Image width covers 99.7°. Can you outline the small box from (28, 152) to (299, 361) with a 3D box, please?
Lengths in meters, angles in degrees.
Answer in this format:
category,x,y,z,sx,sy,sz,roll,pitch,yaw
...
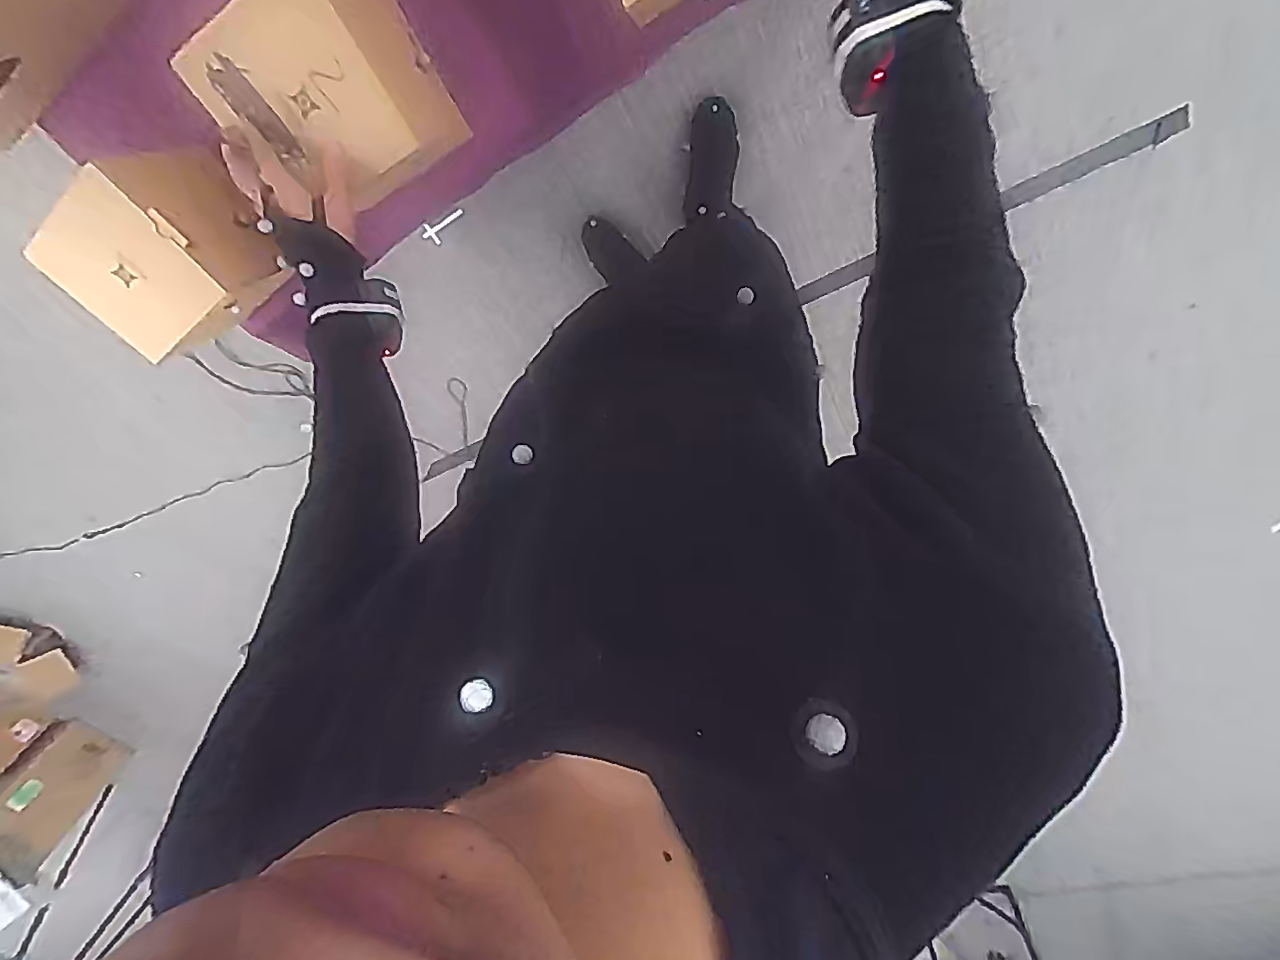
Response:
category,x,y,z,sx,sy,sz,roll,pitch,yaw
small box,-0.592,-0.289,0.698,0.179,0.176,0.168,-28,119,21
